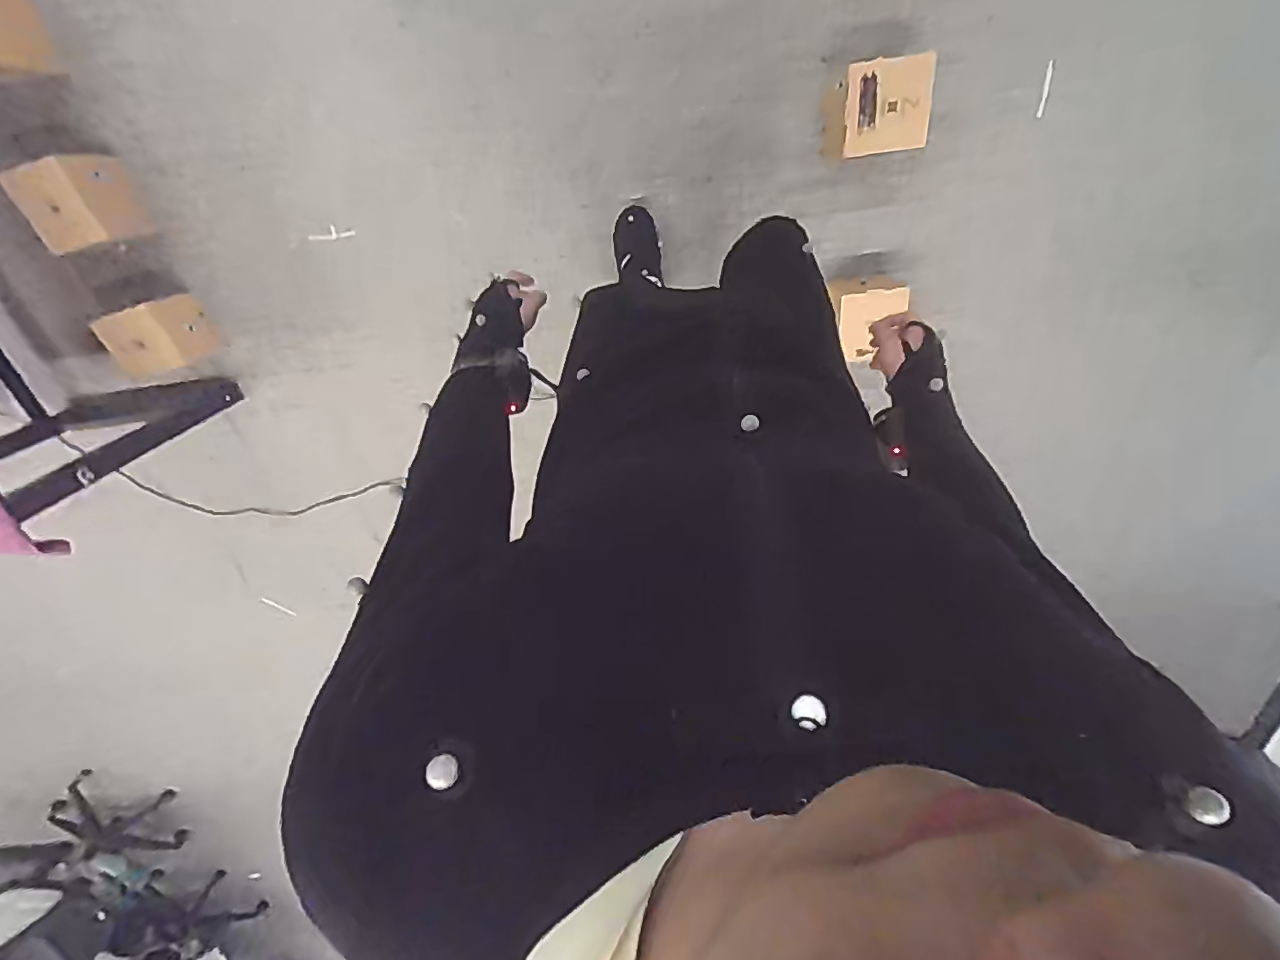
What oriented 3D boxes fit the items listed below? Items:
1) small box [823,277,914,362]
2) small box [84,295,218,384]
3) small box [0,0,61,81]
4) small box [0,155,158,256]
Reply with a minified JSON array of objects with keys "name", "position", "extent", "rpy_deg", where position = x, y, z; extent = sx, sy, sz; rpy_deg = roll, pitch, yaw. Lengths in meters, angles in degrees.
[{"name":"small box","position":[0.579,-0.420,1.393],"extent":[0.168,0.176,0.179],"rpy_deg":[-6,119,4]},{"name":"small box","position":[-1.278,-0.377,1.437],"extent":[0.179,0.176,0.168],"rpy_deg":[-14,118,8]},{"name":"small box","position":[-1.389,-0.948,1.118],"extent":[0.168,0.176,0.179],"rpy_deg":[-6,119,4]},{"name":"small box","position":[-1.327,-0.652,1.284],"extent":[0.168,0.176,0.179],"rpy_deg":[-12,120,8]}]
